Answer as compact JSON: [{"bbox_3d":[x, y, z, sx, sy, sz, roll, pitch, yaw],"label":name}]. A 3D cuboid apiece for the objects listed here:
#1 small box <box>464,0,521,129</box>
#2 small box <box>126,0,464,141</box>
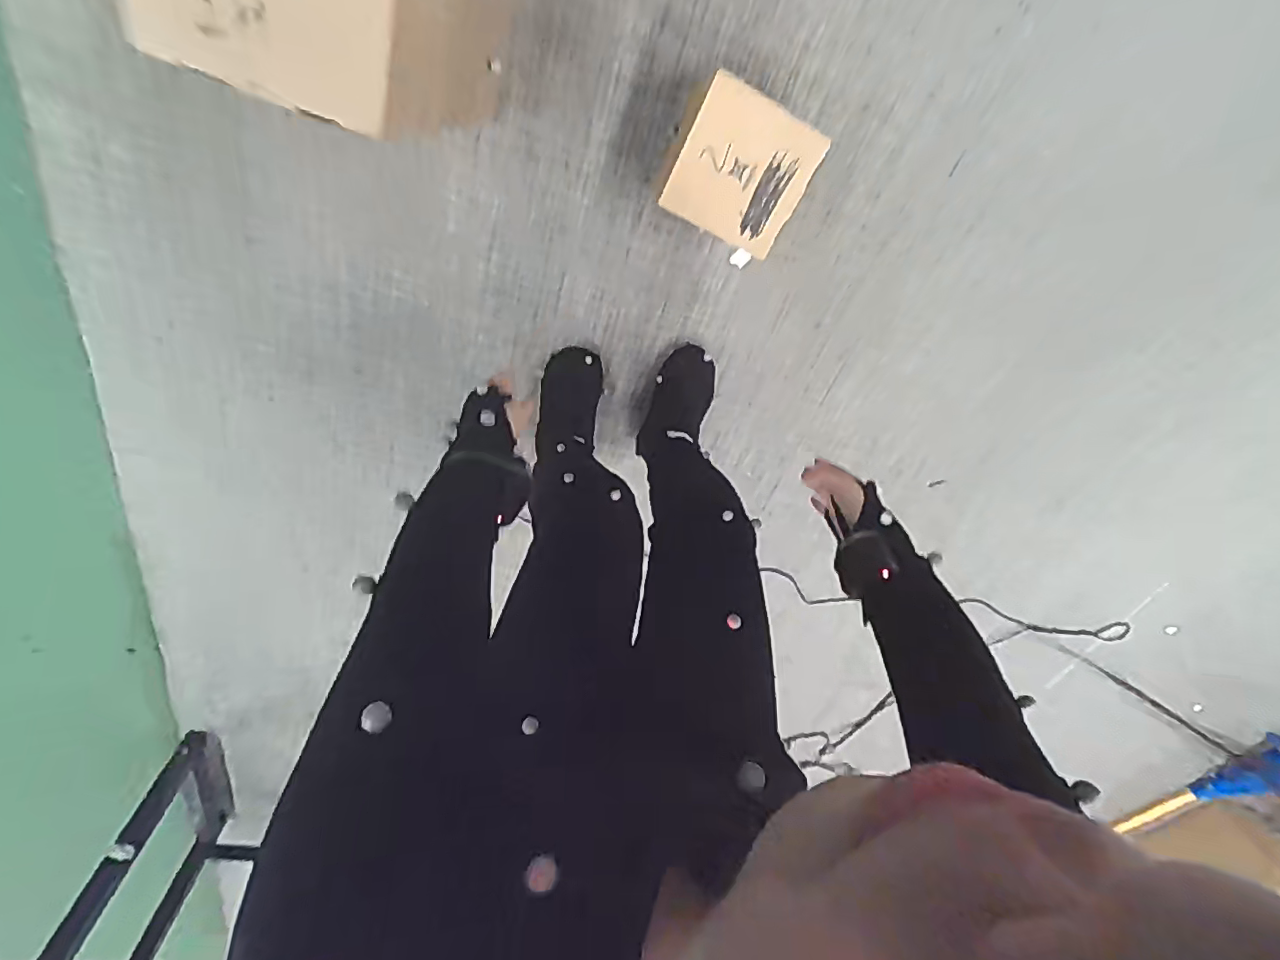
[{"bbox_3d":[-0.255,-0.570,0.673,0.168,0.176,0.179,17,122,-14],"label":"small box"},{"bbox_3d":[-0.238,-0.383,0.405,0.168,0.176,0.179,16,122,-11],"label":"small box"}]
